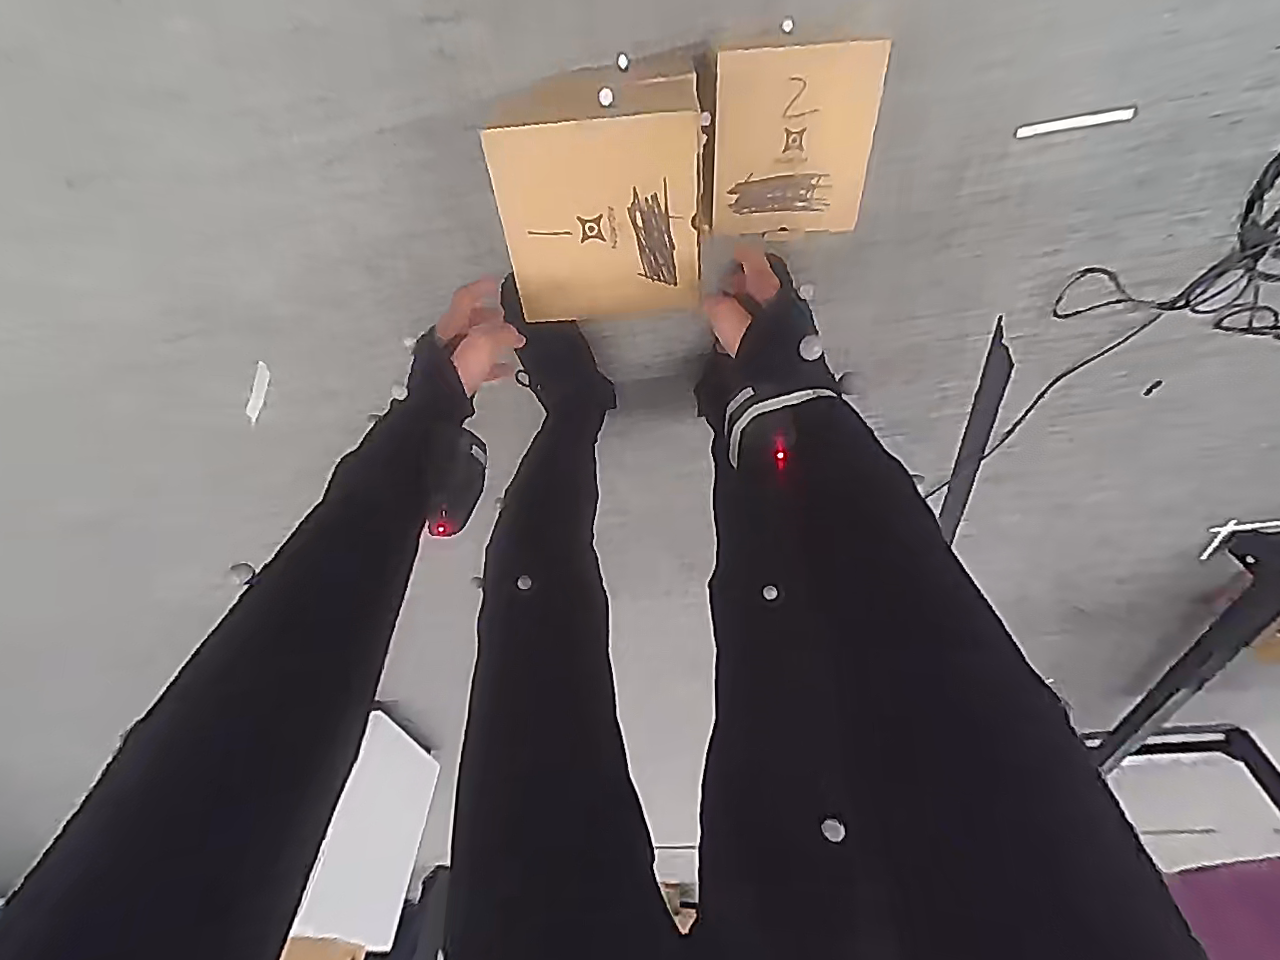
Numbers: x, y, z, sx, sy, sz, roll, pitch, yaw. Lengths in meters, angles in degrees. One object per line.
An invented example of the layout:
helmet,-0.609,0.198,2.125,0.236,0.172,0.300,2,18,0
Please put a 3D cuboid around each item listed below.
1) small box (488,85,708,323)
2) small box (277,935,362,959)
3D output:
small box,-0.026,-0.271,0.530,0.179,0.176,0.168,-1,132,5
small box,-0.957,1.449,1.576,0.179,0.176,0.168,-4,133,6
